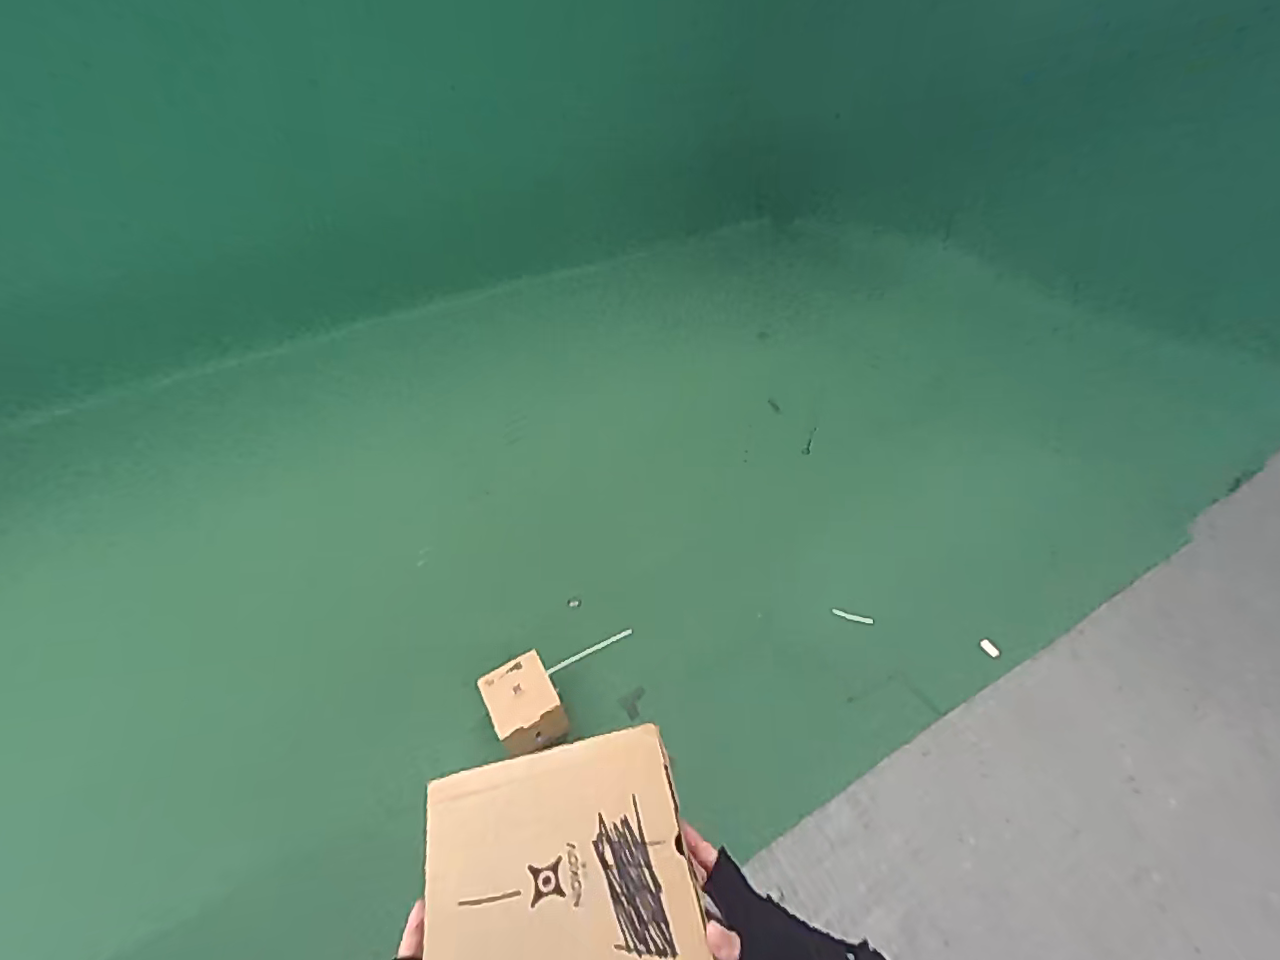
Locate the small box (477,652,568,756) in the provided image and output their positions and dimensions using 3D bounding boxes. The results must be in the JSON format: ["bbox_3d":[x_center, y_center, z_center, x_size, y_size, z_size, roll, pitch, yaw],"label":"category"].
[{"bbox_3d":[-0.301,0.594,1.416,0.168,0.176,0.179,-24,50,-18],"label":"small box"}]

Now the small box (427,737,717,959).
[{"bbox_3d":[-0.049,0.324,0.411,0.179,0.176,0.168,-10,47,-8],"label":"small box"}]
